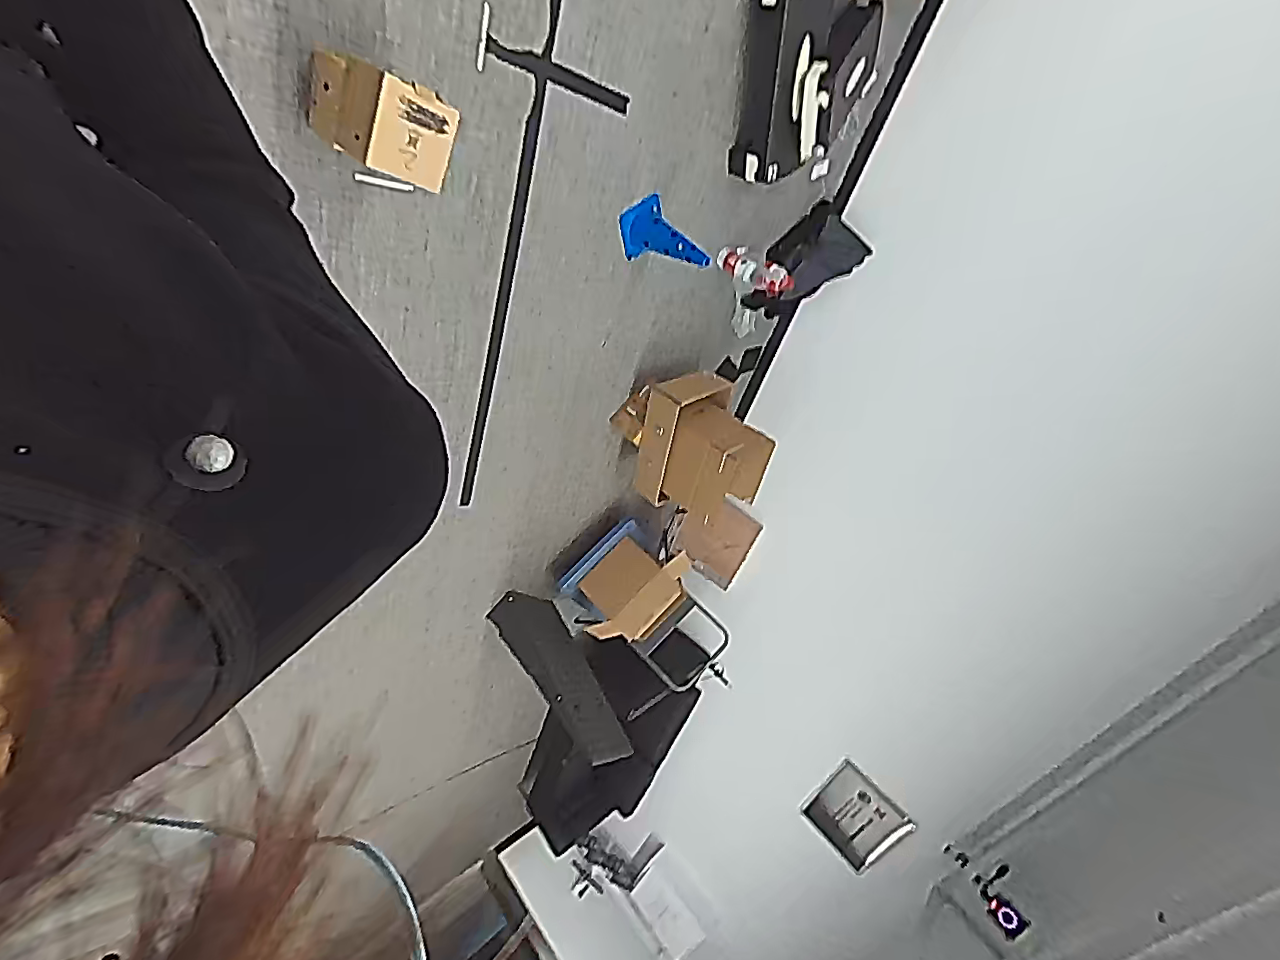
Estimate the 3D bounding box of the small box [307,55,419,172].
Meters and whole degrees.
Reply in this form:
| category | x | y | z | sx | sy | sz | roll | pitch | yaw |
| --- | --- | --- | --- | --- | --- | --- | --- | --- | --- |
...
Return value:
| category | x | y | z | sx | sy | sz | roll | pitch | yaw |
| --- | --- | --- | --- | --- | --- | --- | --- | --- | --- |
| small box | -0.641 | -0.842 | 1.242 | 0.179 | 0.176 | 0.168 | -11 | 134 | -48 |
